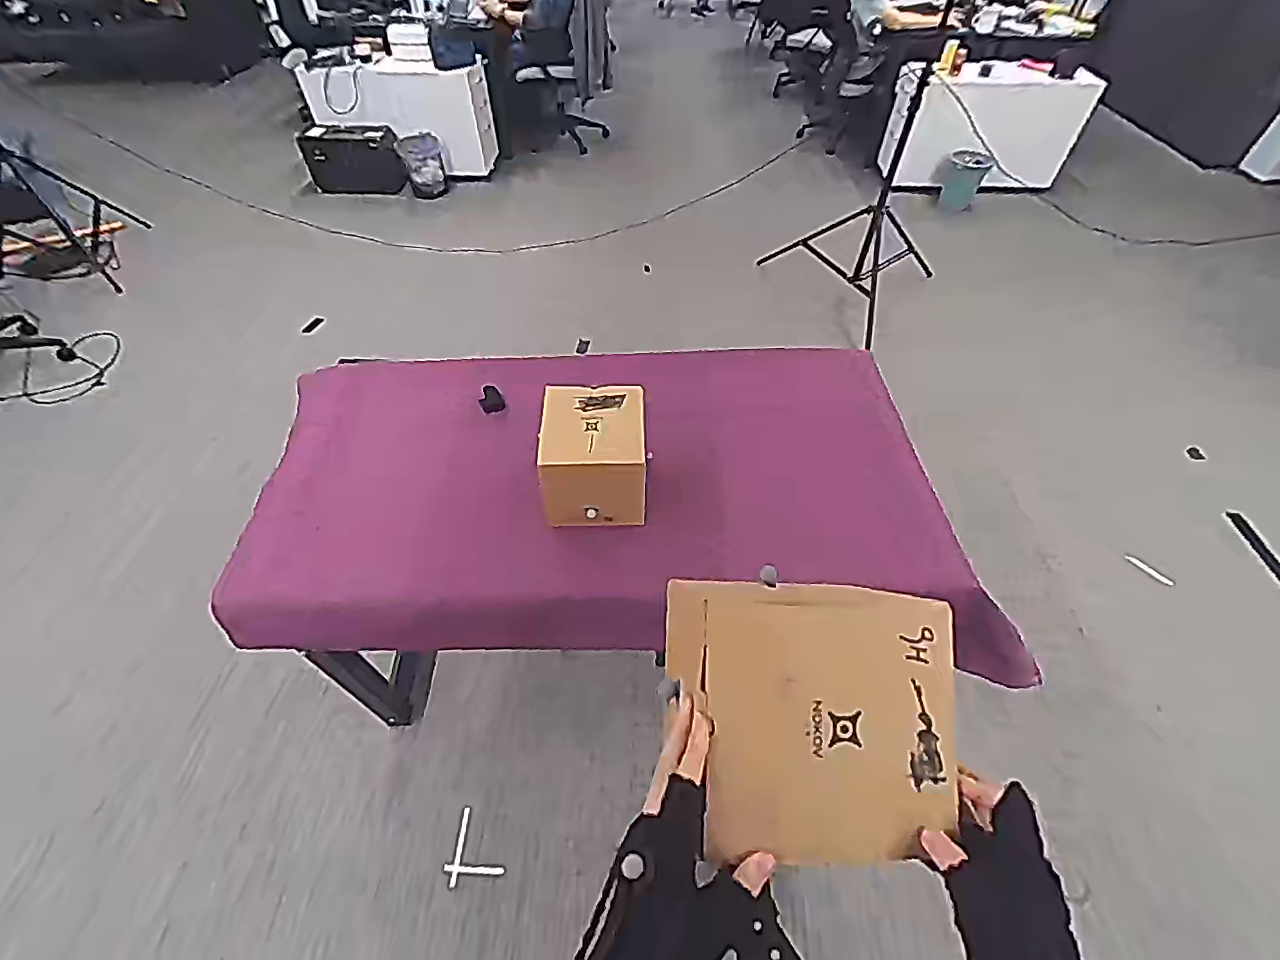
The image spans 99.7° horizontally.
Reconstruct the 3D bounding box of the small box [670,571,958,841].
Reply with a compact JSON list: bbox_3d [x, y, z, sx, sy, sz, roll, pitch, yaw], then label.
[{"bbox_3d":[0.119,0.162,0.439,0.179,0.176,0.168,2,83,-4],"label":"small box"}]

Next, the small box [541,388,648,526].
[{"bbox_3d":[-0.071,-0.039,0.933,0.168,0.176,0.179,-1,50,-1],"label":"small box"}]
